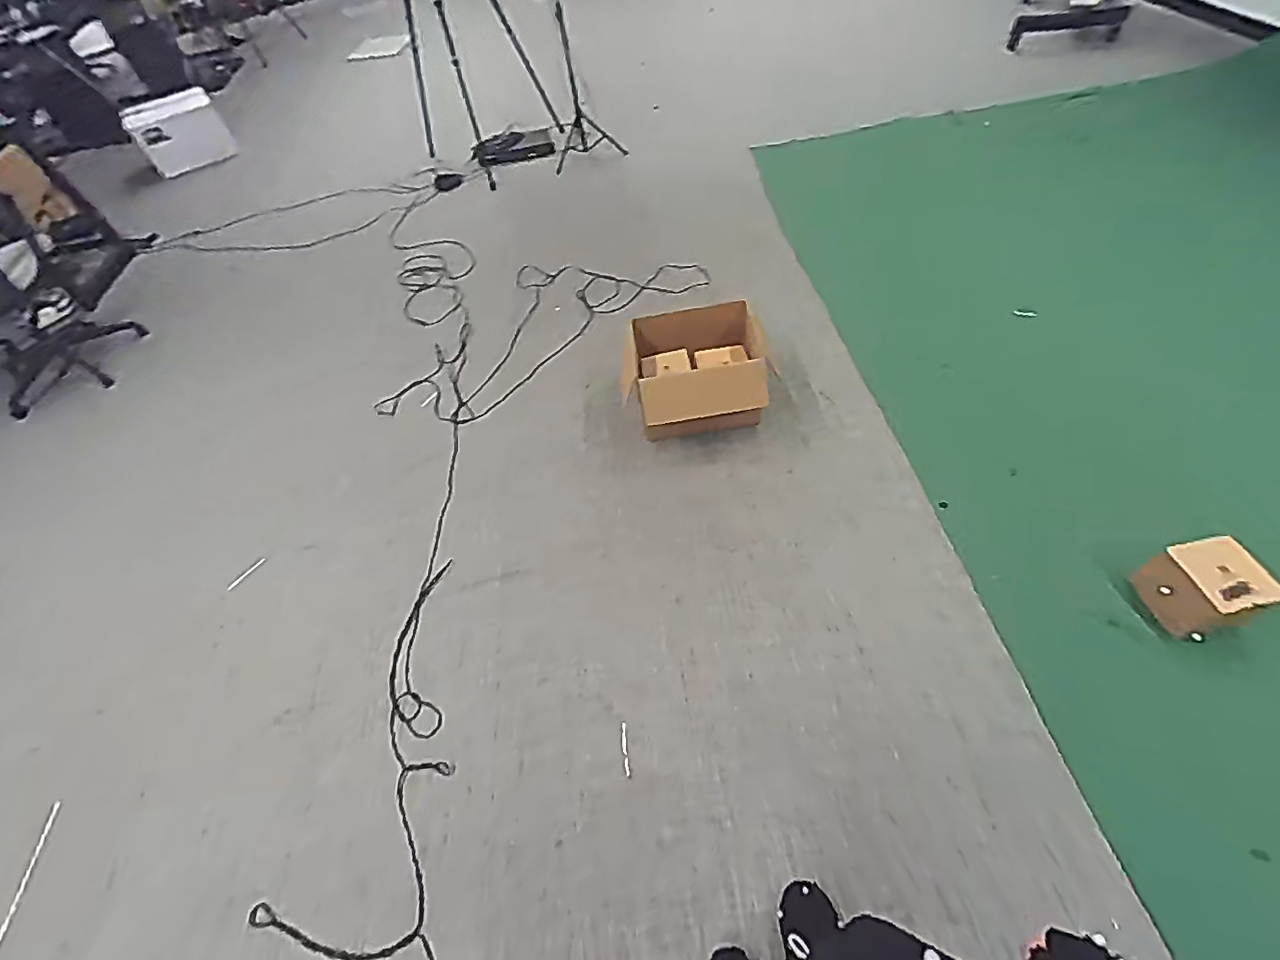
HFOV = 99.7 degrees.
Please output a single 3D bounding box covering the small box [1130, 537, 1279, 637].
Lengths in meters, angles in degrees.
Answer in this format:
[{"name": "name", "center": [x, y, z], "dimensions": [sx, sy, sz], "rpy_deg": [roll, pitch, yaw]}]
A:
[{"name": "small box", "center": [1.376, 0.269, 1.319], "dimensions": [0.168, 0.176, 0.179], "rpy_deg": [-11, 52, 0]}]
